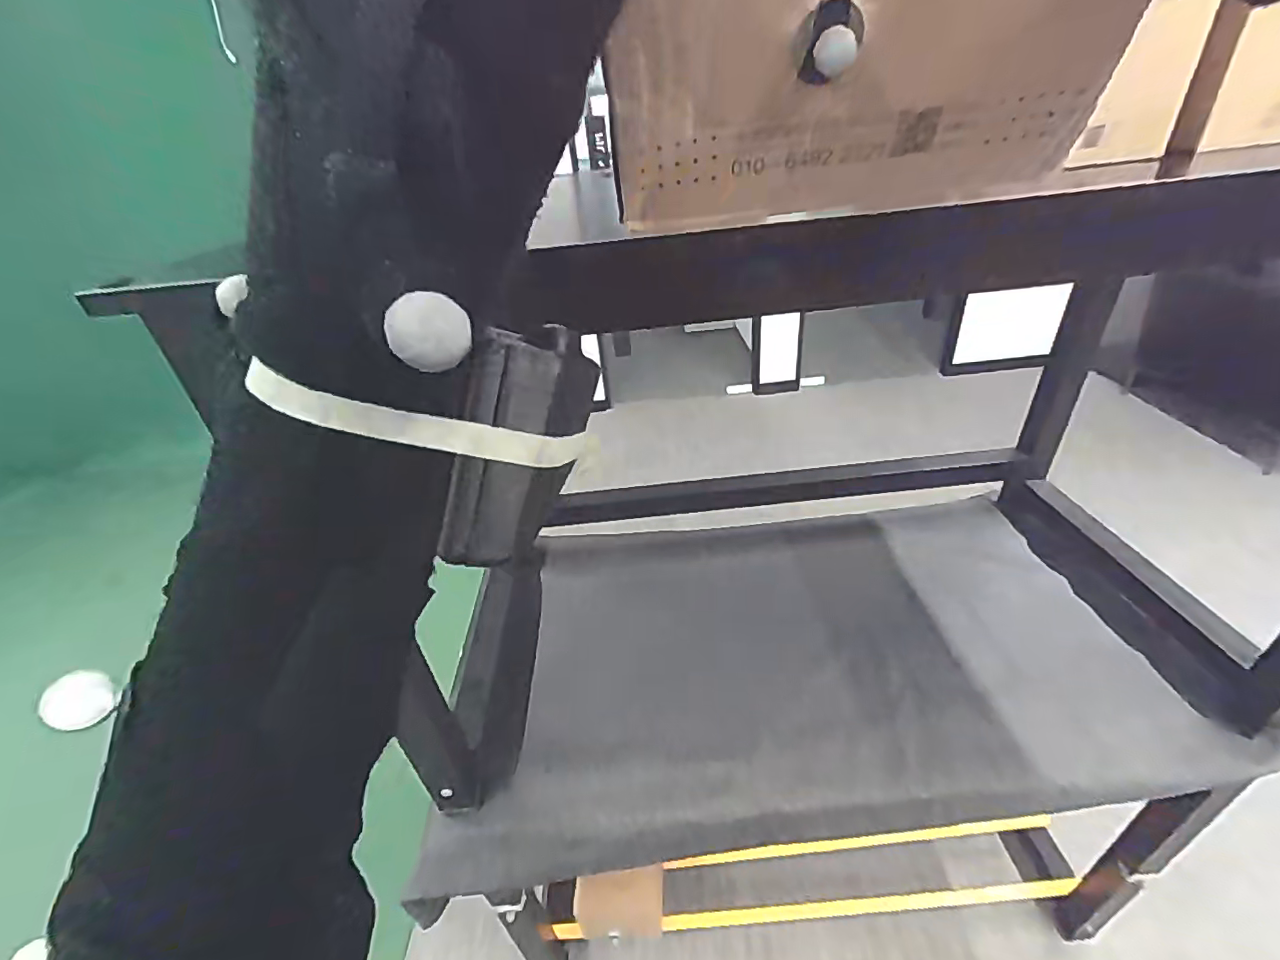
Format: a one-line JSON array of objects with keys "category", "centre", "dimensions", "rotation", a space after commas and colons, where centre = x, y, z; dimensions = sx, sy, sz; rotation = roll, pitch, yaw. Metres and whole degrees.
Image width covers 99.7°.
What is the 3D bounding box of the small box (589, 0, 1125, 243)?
[{"category": "small box", "centre": [0.061, -0.217, 0.197], "dimensions": [0.168, 0.176, 0.179], "rotation": [-7, 57, 2]}]
